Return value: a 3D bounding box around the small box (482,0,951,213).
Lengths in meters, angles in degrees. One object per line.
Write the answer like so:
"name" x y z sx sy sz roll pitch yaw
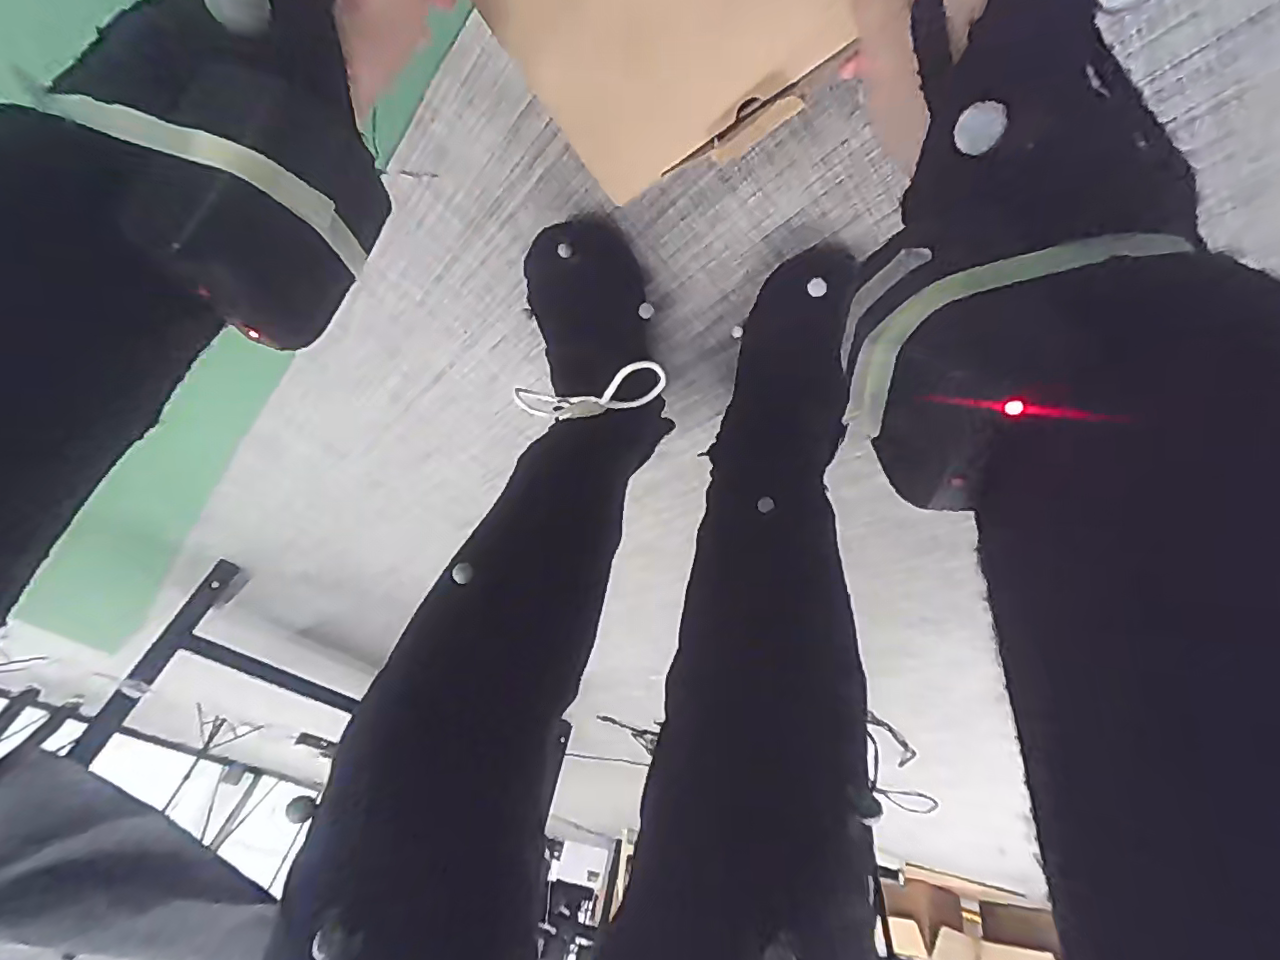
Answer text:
"small box" 0.026 -0.277 0.253 0.168 0.176 0.179 -17 133 34
